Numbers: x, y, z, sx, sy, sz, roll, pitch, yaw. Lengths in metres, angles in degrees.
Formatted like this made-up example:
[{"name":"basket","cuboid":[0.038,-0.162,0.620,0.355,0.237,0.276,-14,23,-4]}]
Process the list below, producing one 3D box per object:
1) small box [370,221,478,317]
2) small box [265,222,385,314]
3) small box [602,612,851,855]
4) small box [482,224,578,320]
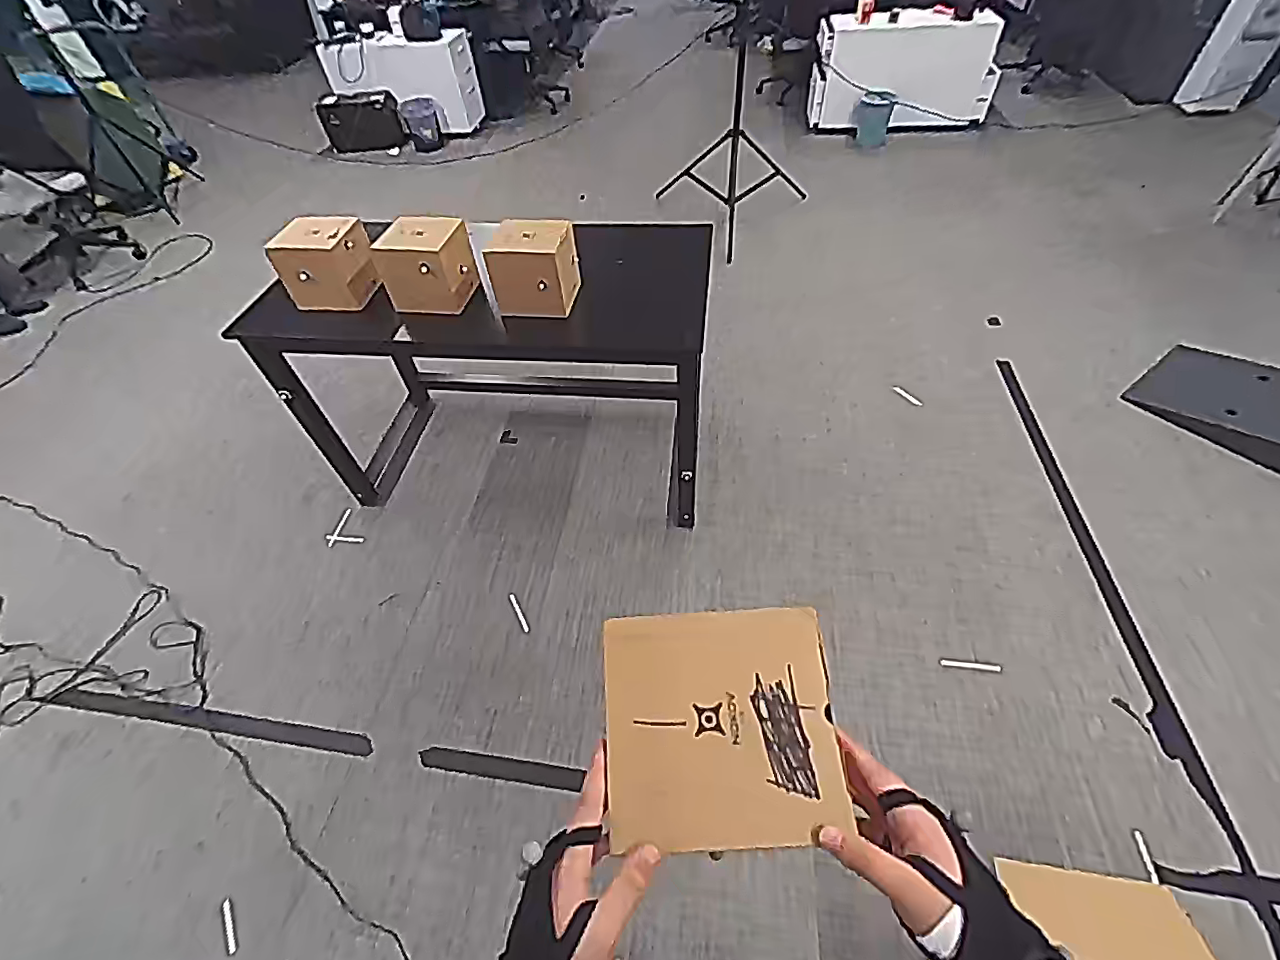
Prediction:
[{"name":"small box","cuboid":[-0.530,-0.528,1.360,0.179,0.176,0.168,4,50,8]},{"name":"small box","cuboid":[-0.800,-0.543,1.395,0.179,0.176,0.168,2,50,6]},{"name":"small box","cuboid":[0.061,0.219,0.482,0.179,0.176,0.168,-4,63,2]},{"name":"small box","cuboid":[-0.259,-0.507,1.326,0.179,0.176,0.168,3,49,8]}]
